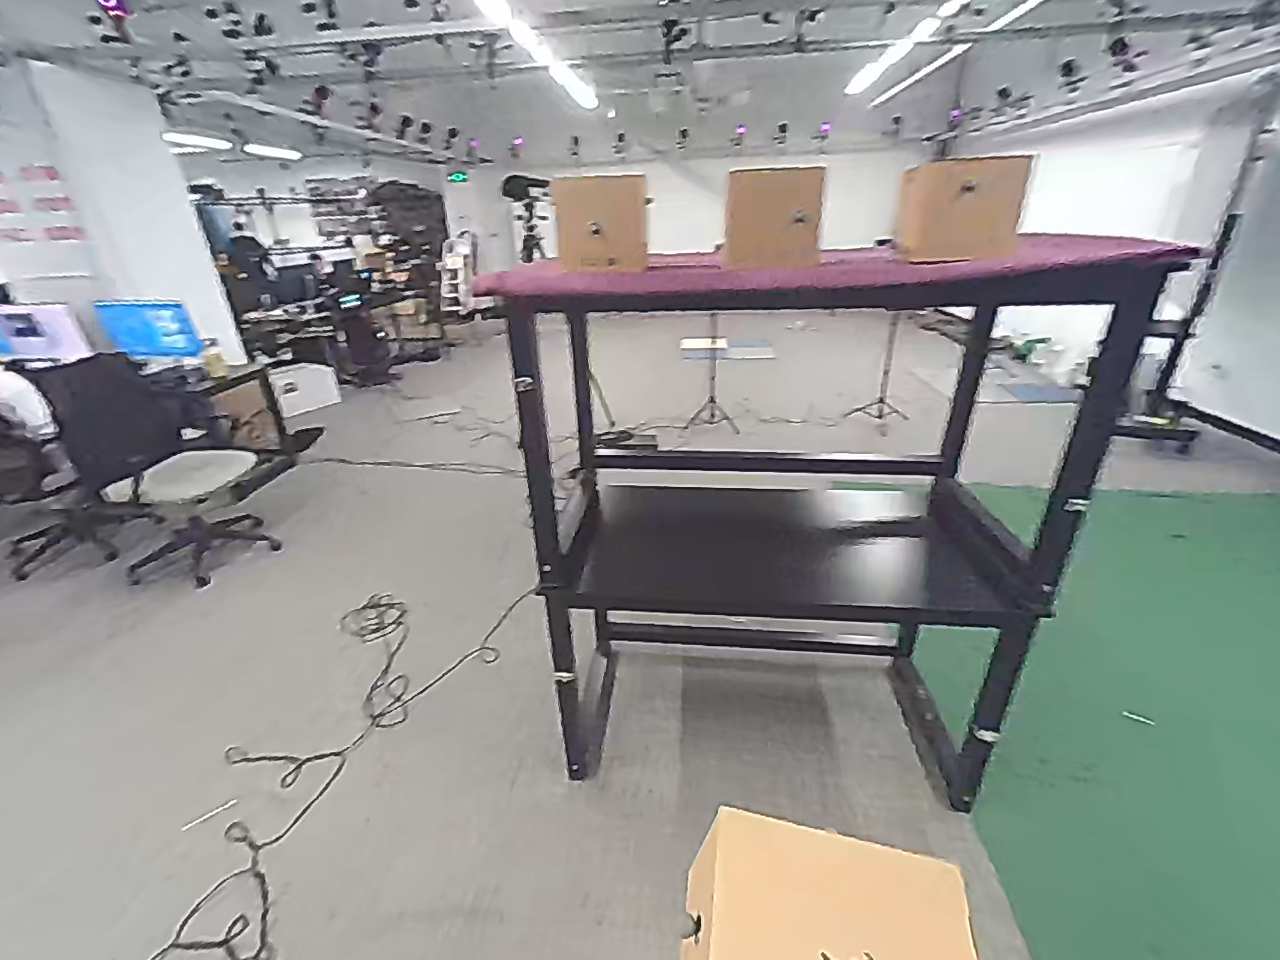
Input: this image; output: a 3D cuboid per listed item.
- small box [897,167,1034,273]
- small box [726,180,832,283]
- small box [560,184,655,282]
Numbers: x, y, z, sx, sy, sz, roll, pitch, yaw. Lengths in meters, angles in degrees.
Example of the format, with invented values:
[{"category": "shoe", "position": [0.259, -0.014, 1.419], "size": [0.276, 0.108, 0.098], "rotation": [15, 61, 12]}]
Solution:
[{"category": "small box", "position": [0.612, -0.492, 1.045], "size": [0.179, 0.176, 0.168], "rotation": [2, 23, 8]}, {"category": "small box", "position": [0.264, -0.488, 1.065], "size": [0.179, 0.176, 0.168], "rotation": [0, 24, 6]}, {"category": "small box", "position": [-0.057, -0.496, 1.092], "size": [0.168, 0.176, 0.179], "rotation": [2, 25, 5]}]
